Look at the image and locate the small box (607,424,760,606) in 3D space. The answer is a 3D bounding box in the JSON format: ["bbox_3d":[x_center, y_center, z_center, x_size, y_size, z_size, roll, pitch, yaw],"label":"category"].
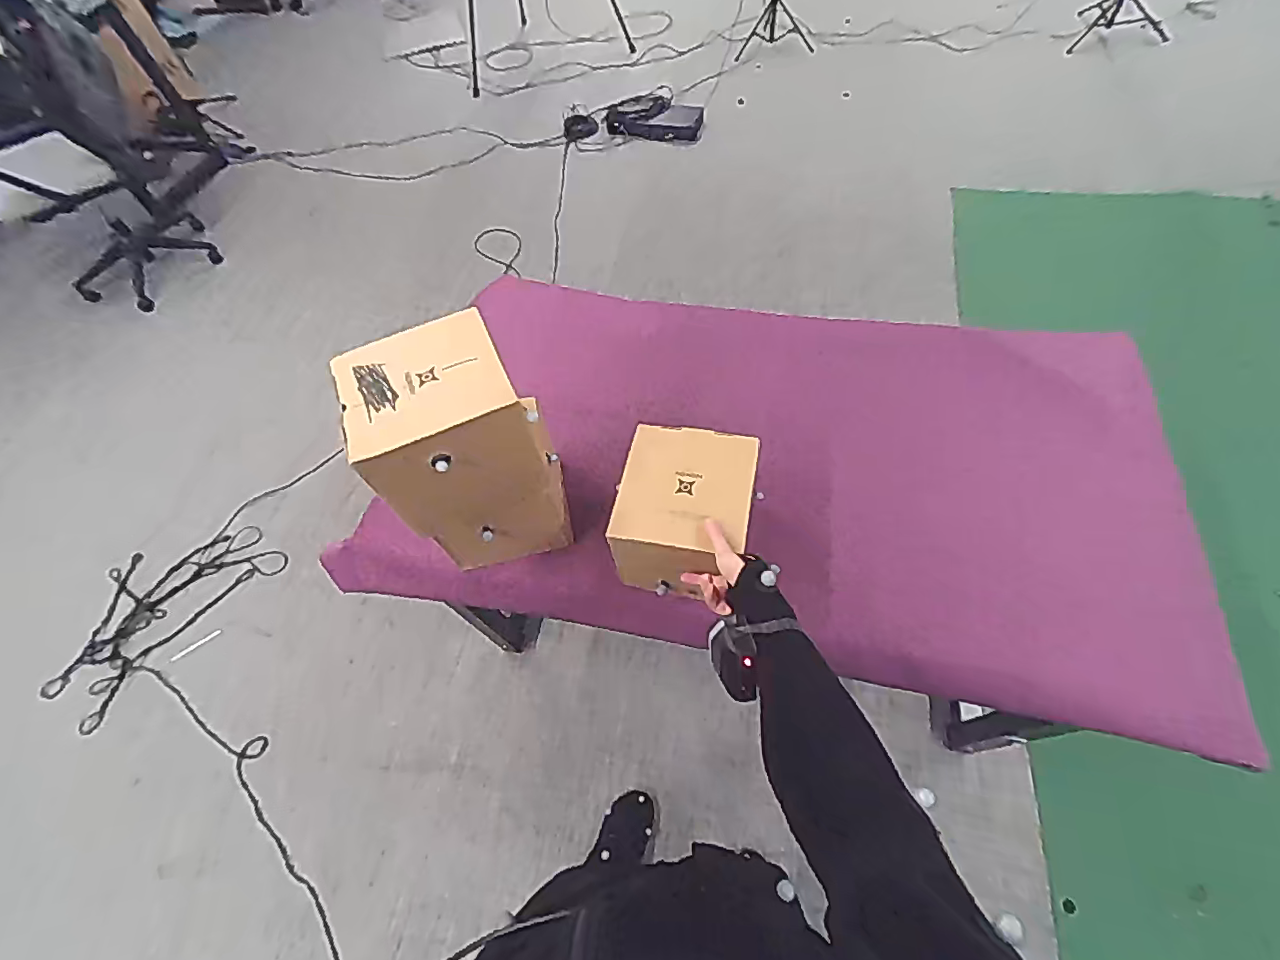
[{"bbox_3d":[0.064,0.050,0.742,0.168,0.176,0.179,8,59,12],"label":"small box"}]

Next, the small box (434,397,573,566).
[{"bbox_3d":[-0.209,0.010,0.793,0.179,0.176,0.168,-13,58,-2],"label":"small box"}]

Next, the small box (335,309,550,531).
[{"bbox_3d":[-0.227,-0.065,0.646,0.179,0.176,0.168,-23,58,-10],"label":"small box"}]
